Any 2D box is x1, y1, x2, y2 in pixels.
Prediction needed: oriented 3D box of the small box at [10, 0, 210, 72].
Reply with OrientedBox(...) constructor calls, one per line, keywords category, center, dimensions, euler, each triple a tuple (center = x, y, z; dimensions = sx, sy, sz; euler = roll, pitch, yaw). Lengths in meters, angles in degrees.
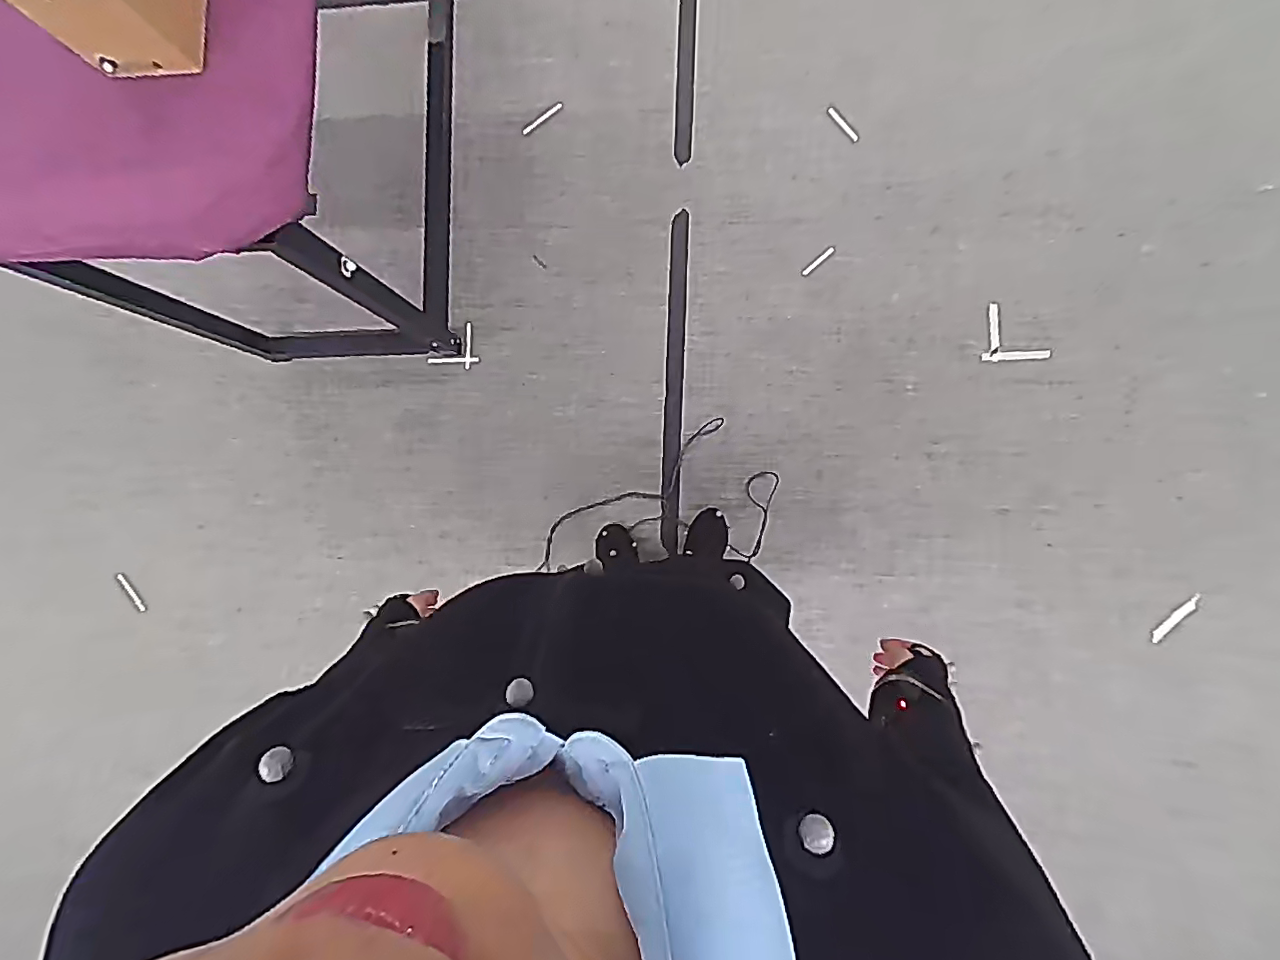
OrientedBox(category="small box", center=(-0.779, -0.740, 0.796), dimensions=(0.168, 0.176, 0.179), euler=(1, 87, 4))
